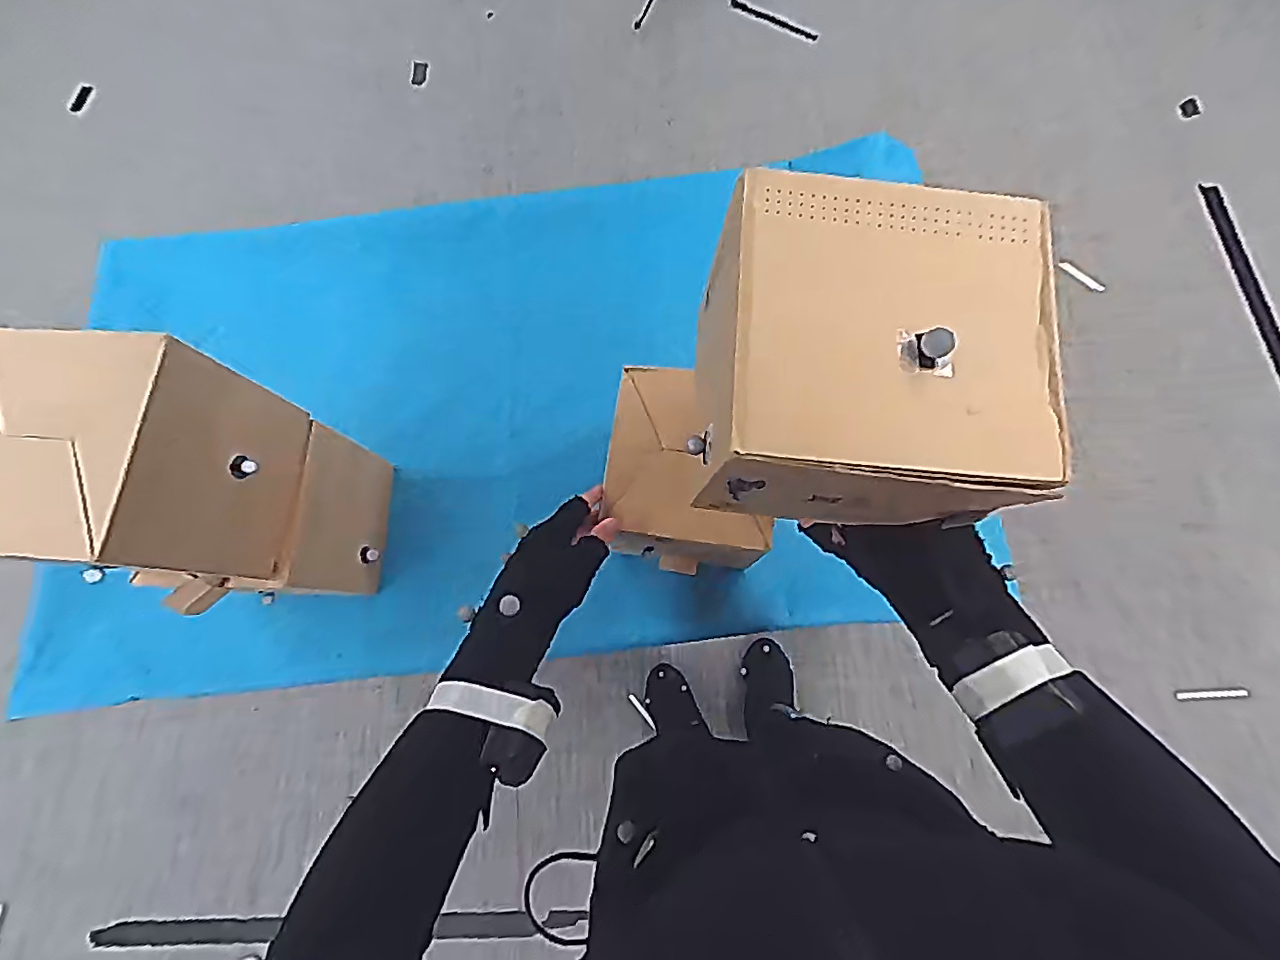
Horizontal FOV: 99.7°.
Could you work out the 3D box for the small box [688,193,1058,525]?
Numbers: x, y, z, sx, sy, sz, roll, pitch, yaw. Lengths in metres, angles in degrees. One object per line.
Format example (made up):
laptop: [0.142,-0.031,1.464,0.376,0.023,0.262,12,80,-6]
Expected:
small box: [0.133,-0.066,0.369,0.179,0.168,0.176,4,77,-2]

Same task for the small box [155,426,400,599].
small box: [-0.411,0.045,0.634,0.168,0.176,0.179,-1,75,4]

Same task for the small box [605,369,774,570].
small box: [0.058,-0.004,0.608,0.168,0.176,0.179,6,75,4]

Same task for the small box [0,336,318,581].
small box: [-0.431,-0.008,0.479,0.168,0.176,0.179,3,77,5]
